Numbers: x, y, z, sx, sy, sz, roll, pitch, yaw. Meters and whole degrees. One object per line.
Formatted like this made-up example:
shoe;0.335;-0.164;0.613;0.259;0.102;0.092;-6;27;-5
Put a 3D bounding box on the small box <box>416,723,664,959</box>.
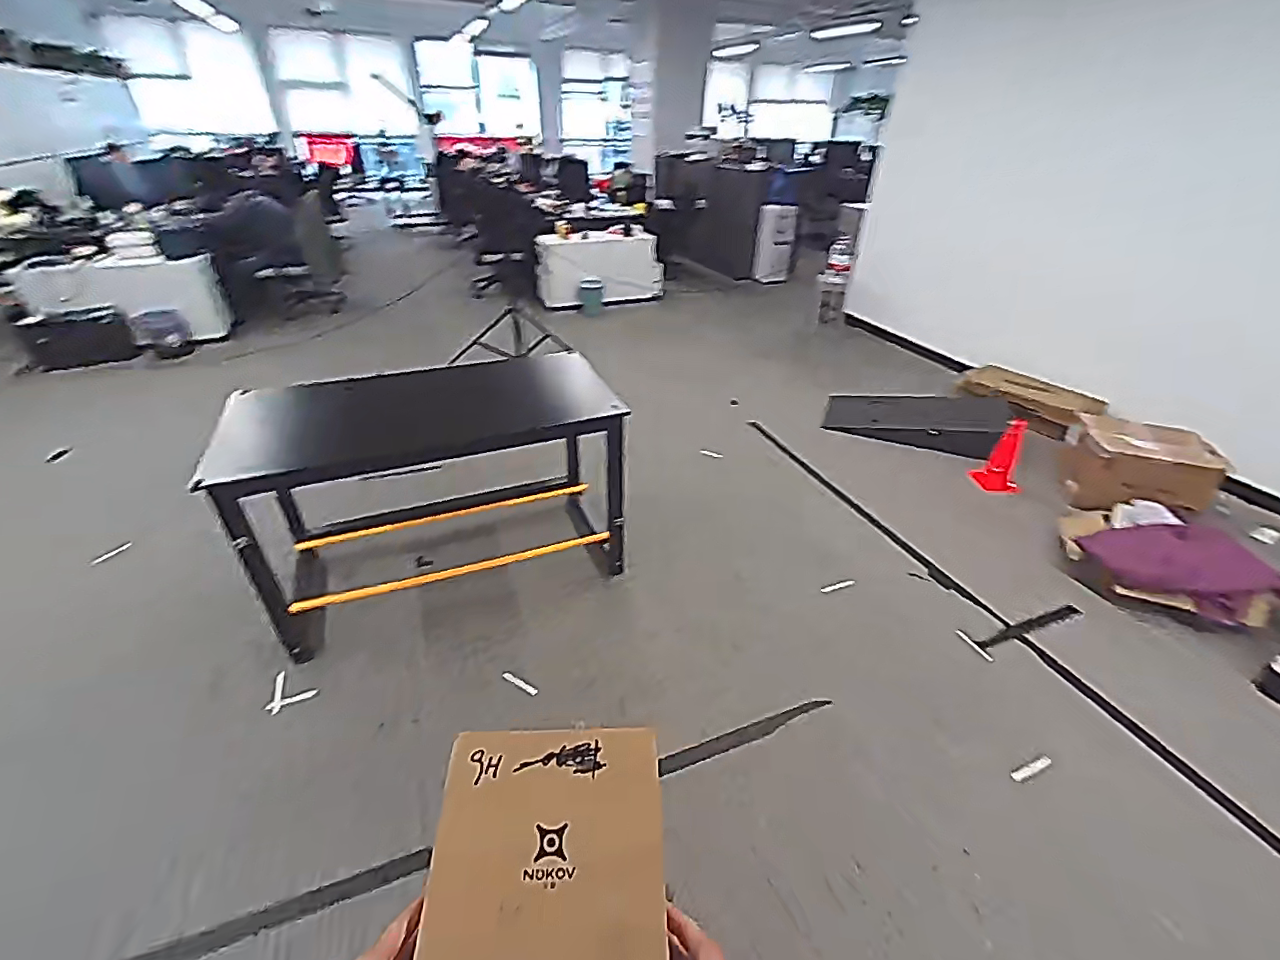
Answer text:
small box;-0.070;0.323;0.450;0.168;0.176;0.179;-1;48;-4
